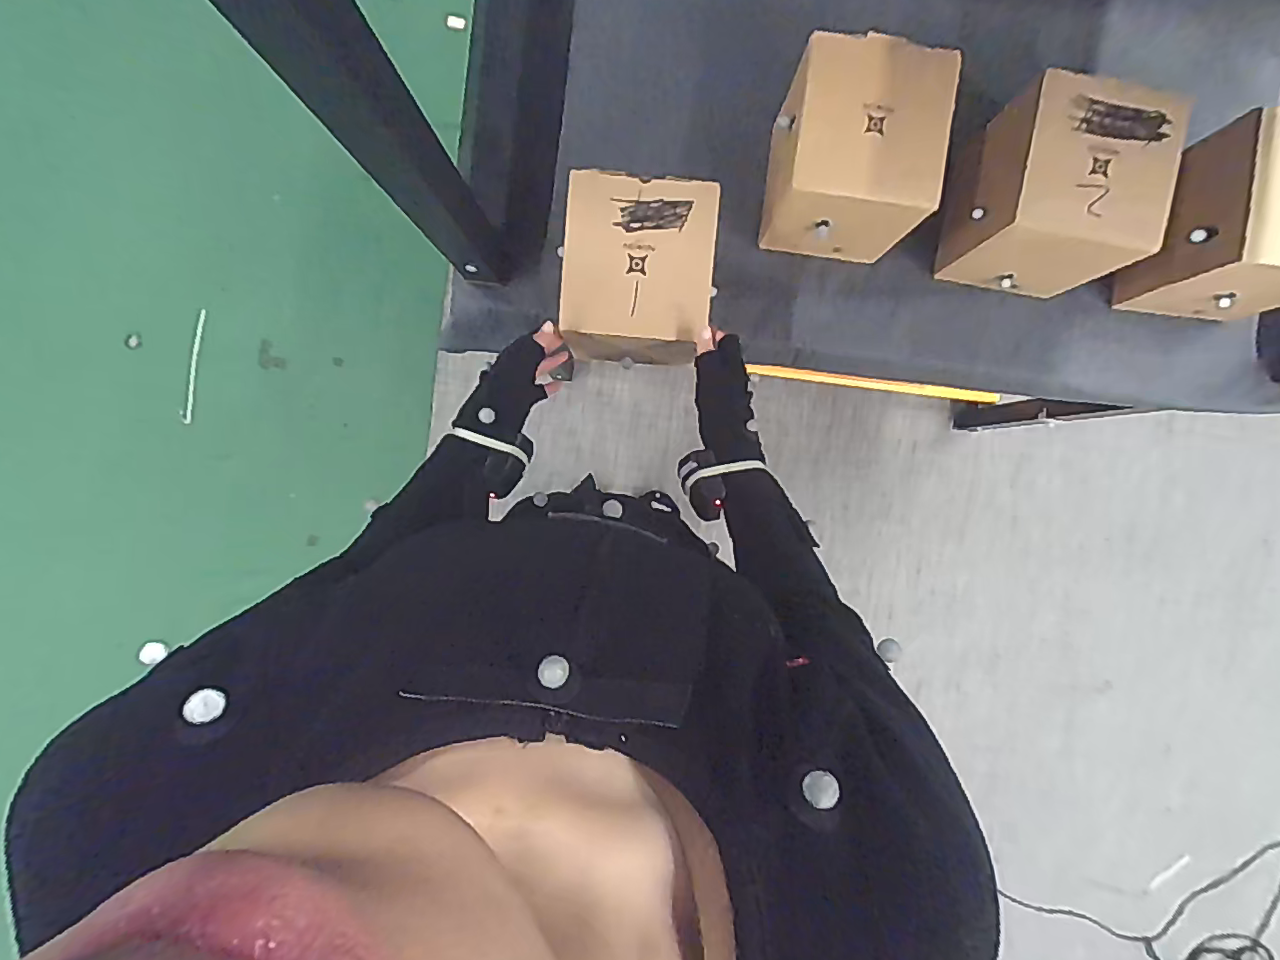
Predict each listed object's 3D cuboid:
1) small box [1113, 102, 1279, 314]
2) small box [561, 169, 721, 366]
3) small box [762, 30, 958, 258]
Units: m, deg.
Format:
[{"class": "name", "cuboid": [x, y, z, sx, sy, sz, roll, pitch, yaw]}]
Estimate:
[{"class": "small box", "cuboid": [0.744, -0.320, 0.673, 0.168, 0.176, 0.179, 7, 90, -1]}, {"class": "small box", "cuboid": [0.000, -0.249, 0.672, 0.168, 0.176, 0.179, 4, 93, -1]}, {"class": "small box", "cuboid": [0.257, -0.398, 0.673, 0.168, 0.176, 0.179, 7, 91, -1]}]
